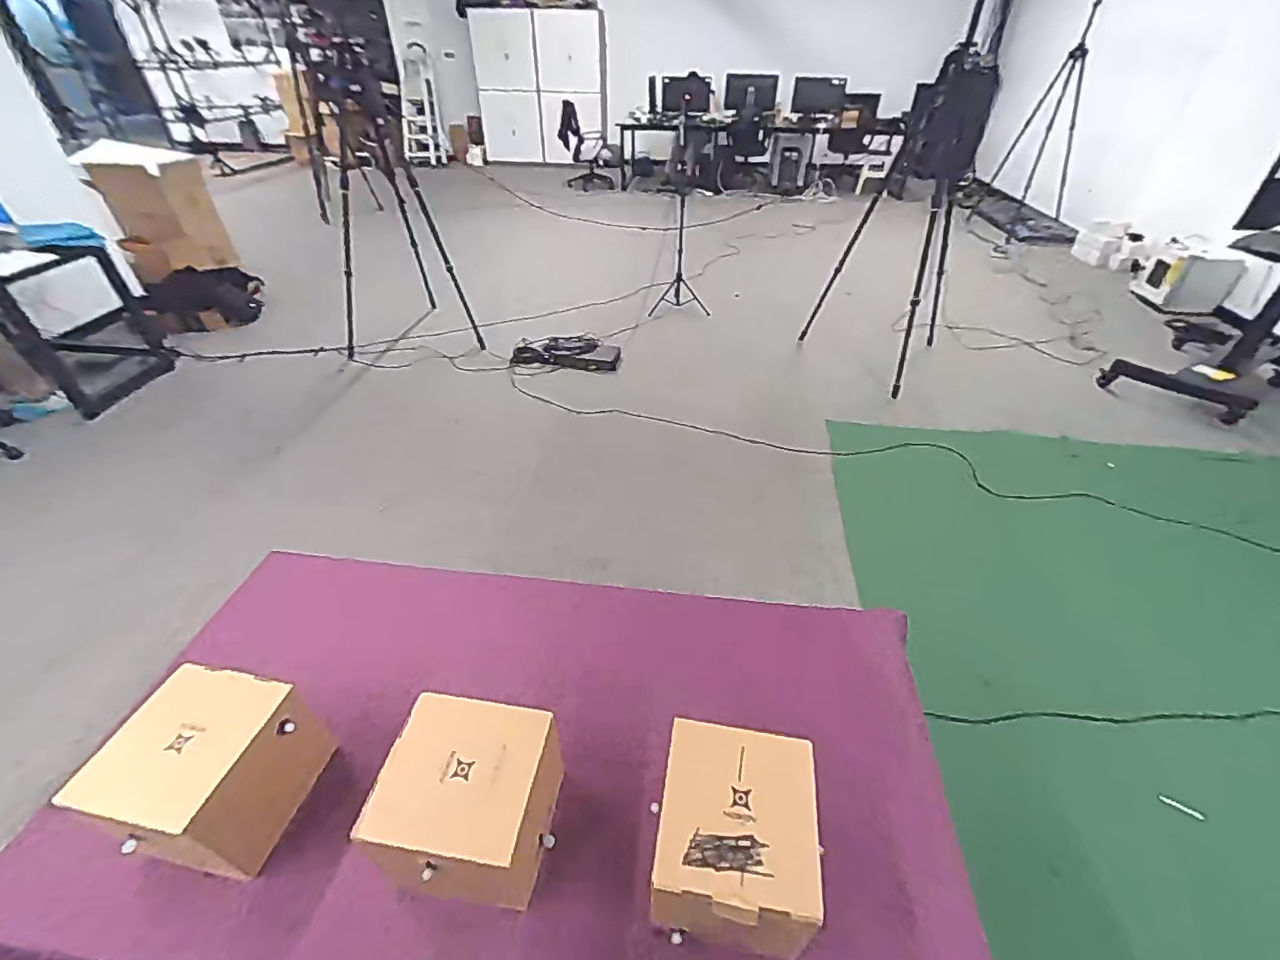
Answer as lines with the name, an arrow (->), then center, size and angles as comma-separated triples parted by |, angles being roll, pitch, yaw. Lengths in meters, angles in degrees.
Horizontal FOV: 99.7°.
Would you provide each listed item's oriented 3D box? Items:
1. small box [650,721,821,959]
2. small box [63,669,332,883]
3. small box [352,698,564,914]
small box -> 0.107, 0.418, 0.628 | 0.168, 0.176, 0.179 | 7, 38, 9
small box -> -0.535, 0.377, 0.690 | 0.168, 0.176, 0.179 | 7, 38, 9
small box -> -0.203, 0.397, 0.661 | 0.179, 0.176, 0.168 | 6, 39, 7
